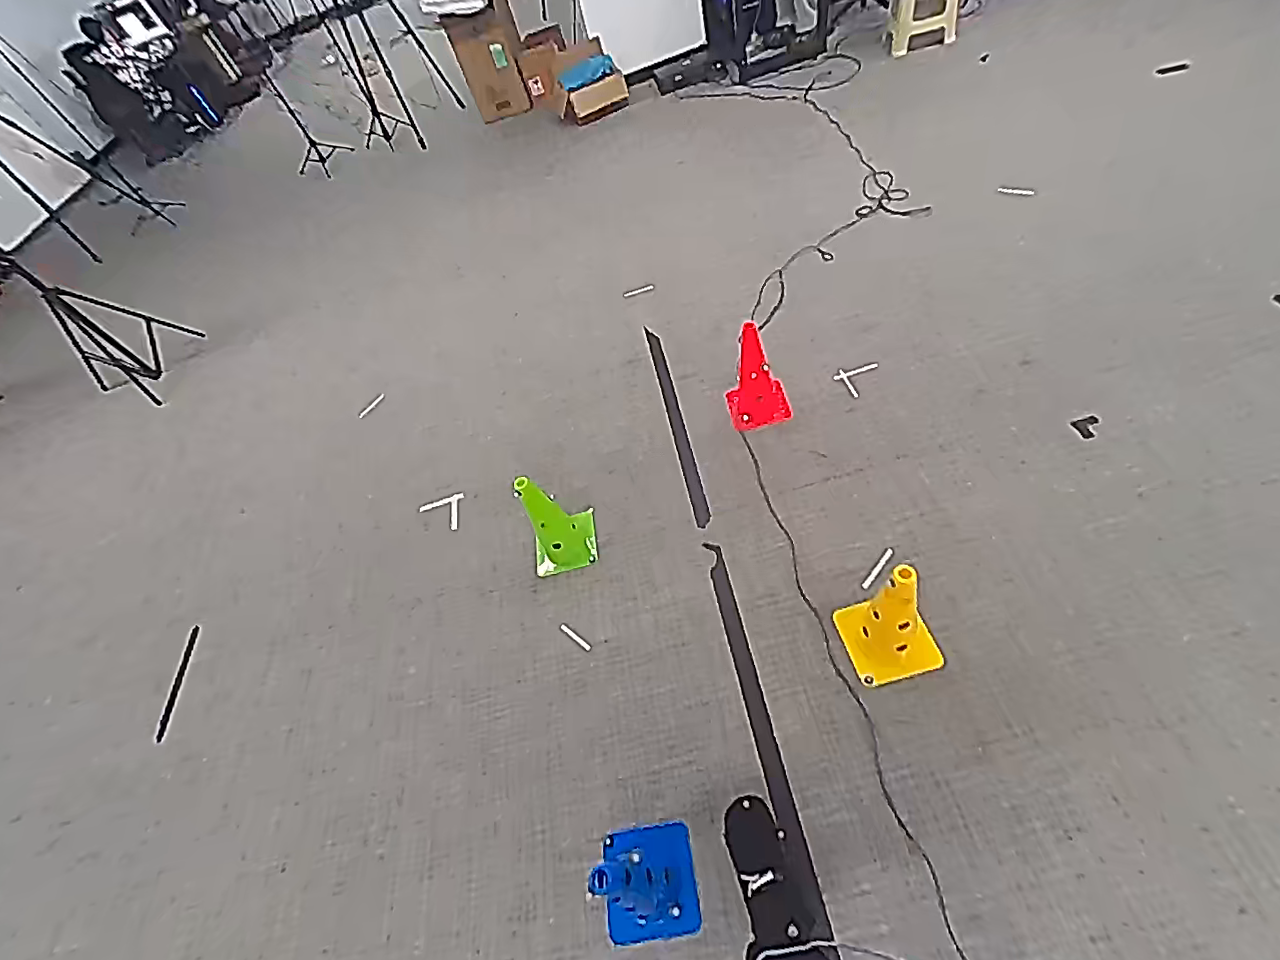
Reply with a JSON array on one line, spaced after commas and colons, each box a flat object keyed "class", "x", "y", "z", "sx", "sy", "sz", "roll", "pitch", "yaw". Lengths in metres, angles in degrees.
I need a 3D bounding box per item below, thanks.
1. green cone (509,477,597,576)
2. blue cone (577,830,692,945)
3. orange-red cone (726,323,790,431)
[{"class": "green cone", "x": -0.287, "y": 0.105, "z": 1.613, "sx": 0.202, "sy": 0.368, "sz": 0.200, "roll": -17, "pitch": 51, "yaw": 6}, {"class": "blue cone", "x": -0.031, "y": 0.781, "z": 1.045, "sx": 0.192, "sy": 0.380, "sz": 0.193, "roll": -14, "pitch": 51, "yaw": 9}, {"class": "orange-red cone", "x": 0.368, "y": -0.357, "z": 1.754, "sx": 0.199, "sy": 0.360, "sz": 0.198, "roll": -12, "pitch": 53, "yaw": 8}]
